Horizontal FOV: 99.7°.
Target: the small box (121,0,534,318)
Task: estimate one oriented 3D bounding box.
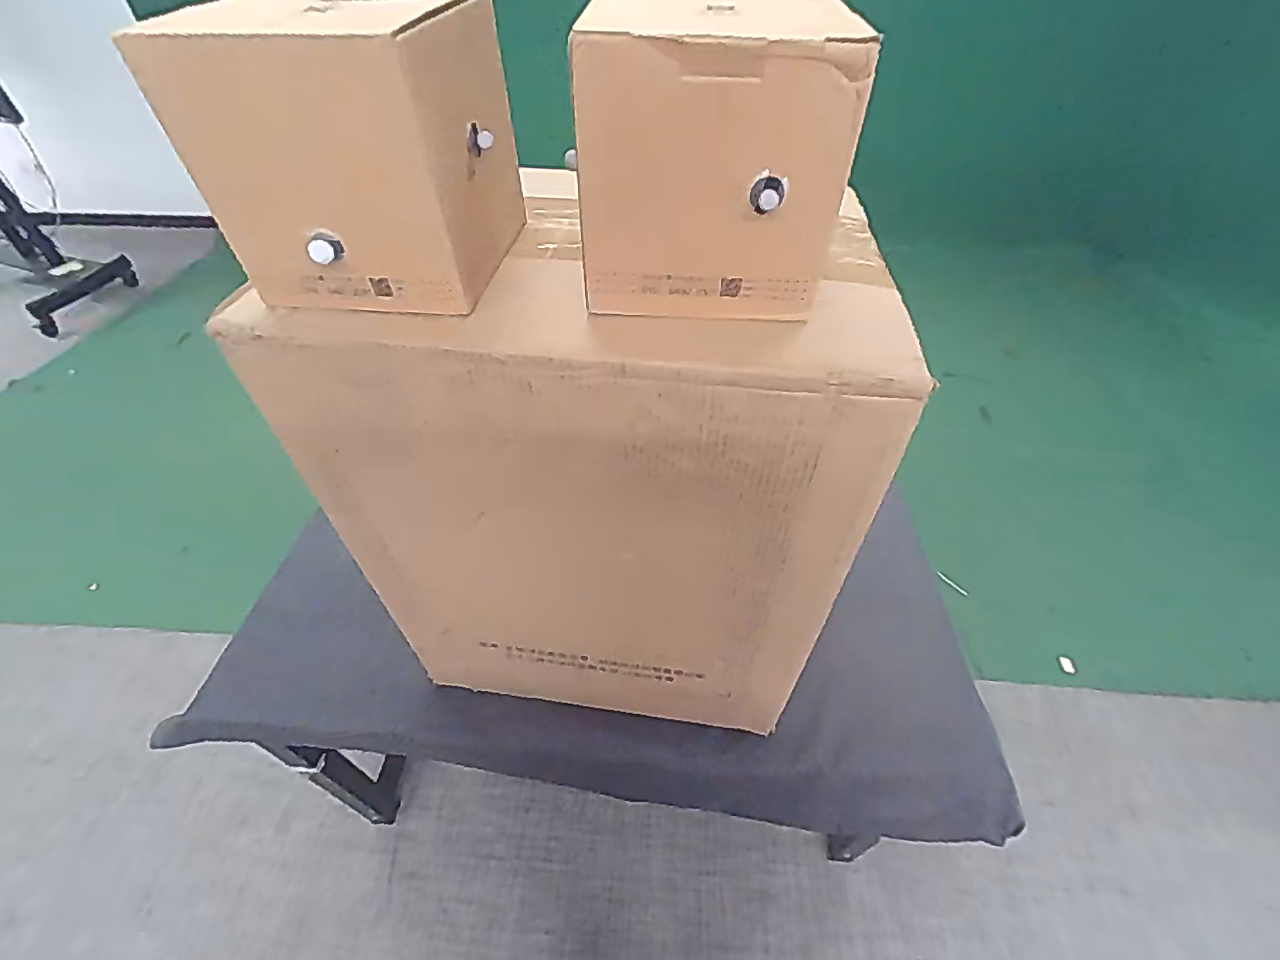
[{"bbox_3d":[-0.183,-0.241,0.391,0.168,0.176,0.179,6,49,6],"label":"small box"}]
